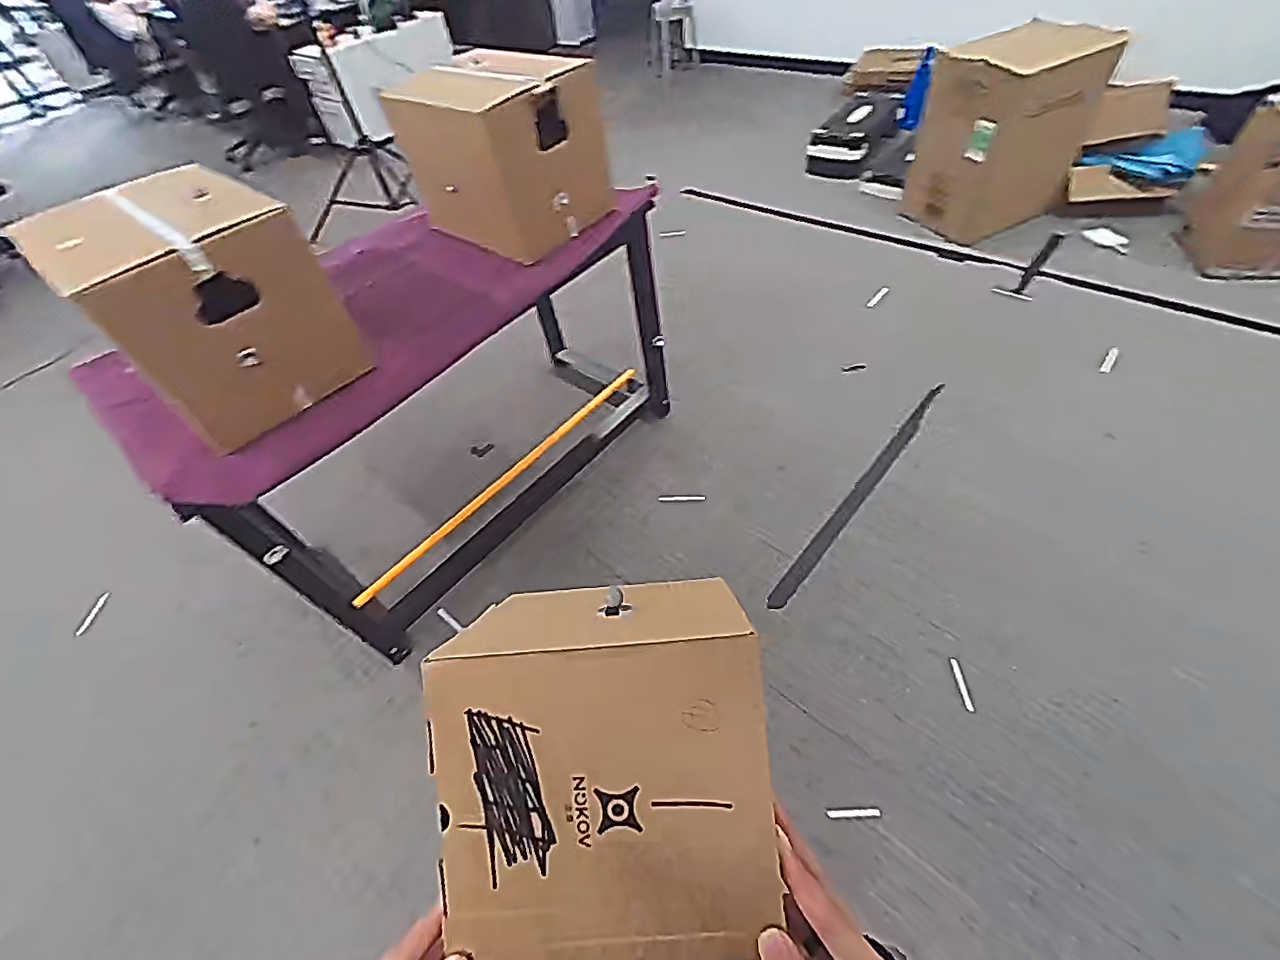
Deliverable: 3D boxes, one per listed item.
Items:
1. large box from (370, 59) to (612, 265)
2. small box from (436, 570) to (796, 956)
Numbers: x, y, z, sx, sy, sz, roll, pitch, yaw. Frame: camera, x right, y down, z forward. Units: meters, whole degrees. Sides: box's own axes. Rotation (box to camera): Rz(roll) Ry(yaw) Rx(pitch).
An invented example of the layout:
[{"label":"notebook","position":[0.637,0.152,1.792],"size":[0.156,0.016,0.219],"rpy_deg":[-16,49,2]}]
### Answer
[{"label":"large box","position":[-0.332,-0.755,1.278],"size":[0.408,0.320,0.320],"rpy_deg":[29,60,30]},{"label":"small box","position":[-0.010,0.156,0.354],"size":[0.179,0.176,0.168],"rpy_deg":[-5,89,2]}]
